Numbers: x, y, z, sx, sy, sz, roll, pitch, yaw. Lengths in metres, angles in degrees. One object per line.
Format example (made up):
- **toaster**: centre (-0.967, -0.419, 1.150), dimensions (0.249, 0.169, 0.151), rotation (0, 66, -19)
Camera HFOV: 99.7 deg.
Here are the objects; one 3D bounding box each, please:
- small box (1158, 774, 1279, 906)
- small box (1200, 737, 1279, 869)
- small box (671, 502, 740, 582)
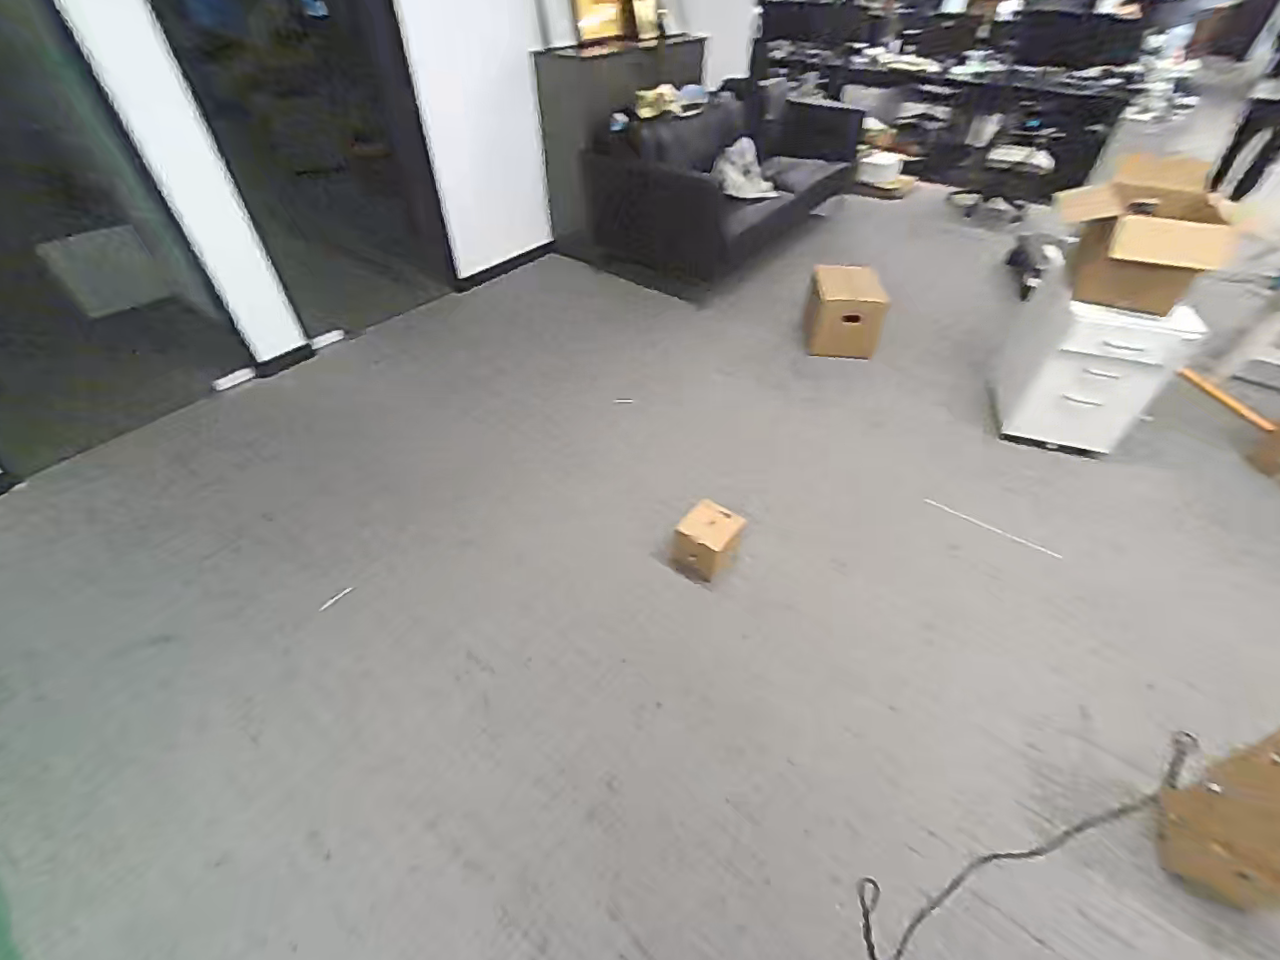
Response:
- **small box**: centre (1.301, 0.802, 1.199), dimensions (0.179, 0.176, 0.168), rotation (22, 48, 21)
- **small box**: centre (1.308, 0.671, 1.099), dimensions (0.179, 0.176, 0.168), rotation (24, 48, 24)
- **small box**: centre (0.219, 0.212, 1.826), dimensions (0.168, 0.176, 0.179), rotation (28, 51, 27)
